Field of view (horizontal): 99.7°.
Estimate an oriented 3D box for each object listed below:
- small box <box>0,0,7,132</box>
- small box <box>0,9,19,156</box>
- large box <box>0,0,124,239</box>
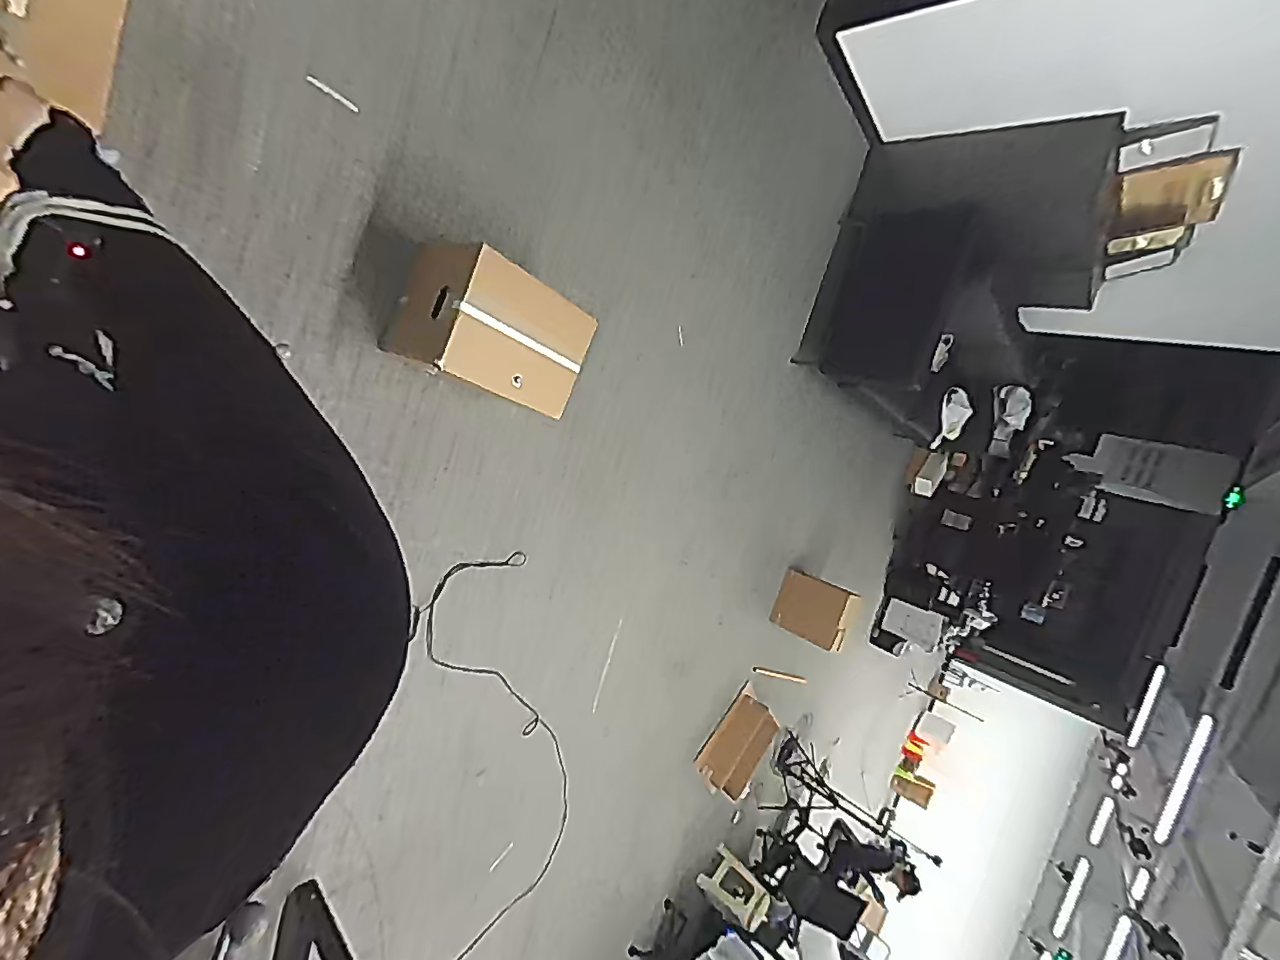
[{"bbox_3d":[-0.714,-0.442,0.496,0.168,0.176,0.179,3,102,-50],"label":"small box"},{"bbox_3d":[-0.835,-0.478,0.601,0.179,0.176,0.168,9,98,-49],"label":"small box"},{"bbox_3d":[-0.981,-0.607,0.764,0.320,0.320,0.408,11,96,-50],"label":"large box"}]
